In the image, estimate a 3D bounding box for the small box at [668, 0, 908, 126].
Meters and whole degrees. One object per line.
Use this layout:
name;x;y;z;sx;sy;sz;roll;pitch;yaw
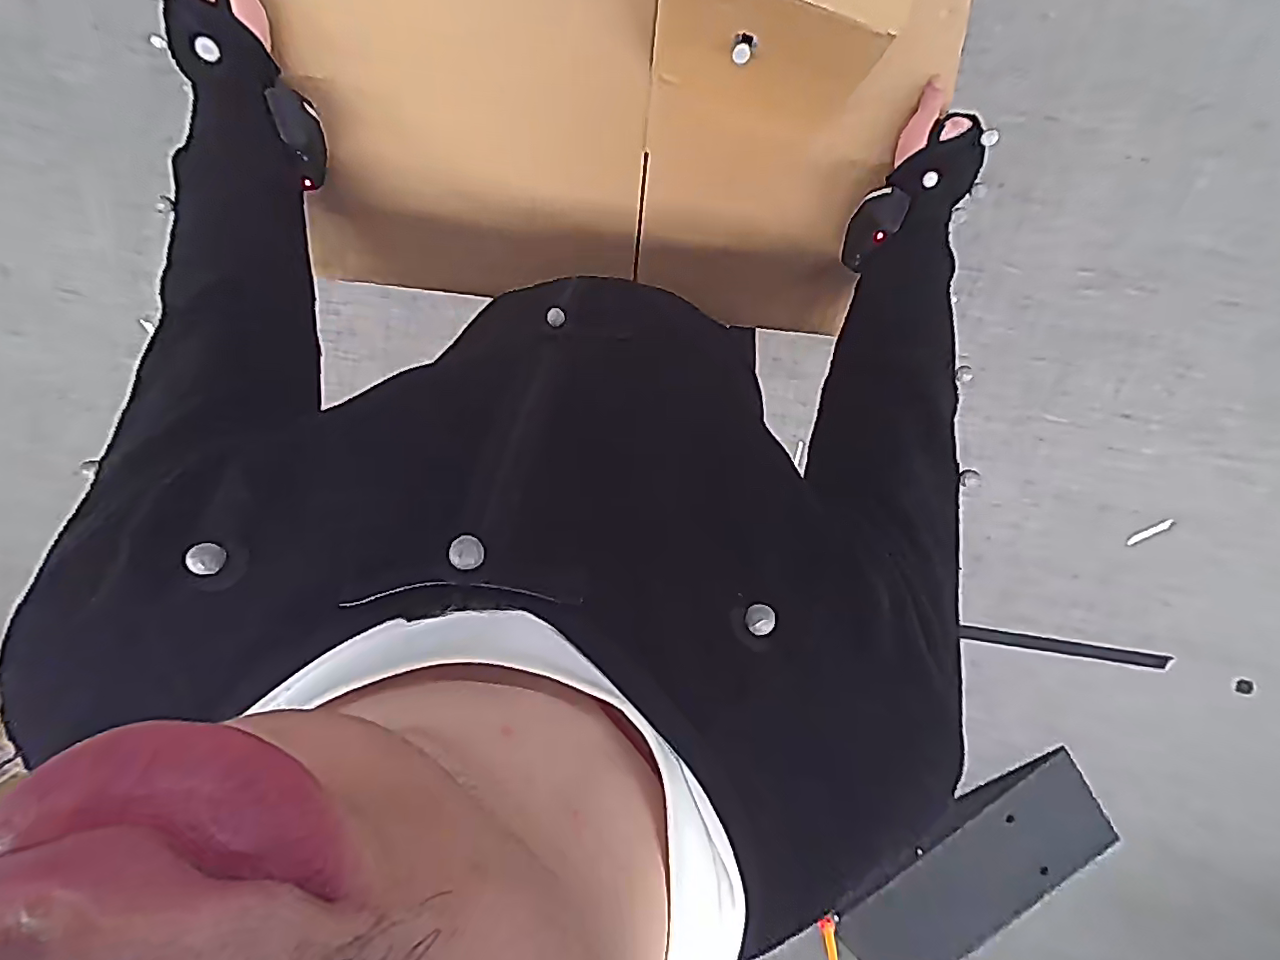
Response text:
small box;0.127;-0.435;0.452;0.179;0.176;0.168;16;102;-3
